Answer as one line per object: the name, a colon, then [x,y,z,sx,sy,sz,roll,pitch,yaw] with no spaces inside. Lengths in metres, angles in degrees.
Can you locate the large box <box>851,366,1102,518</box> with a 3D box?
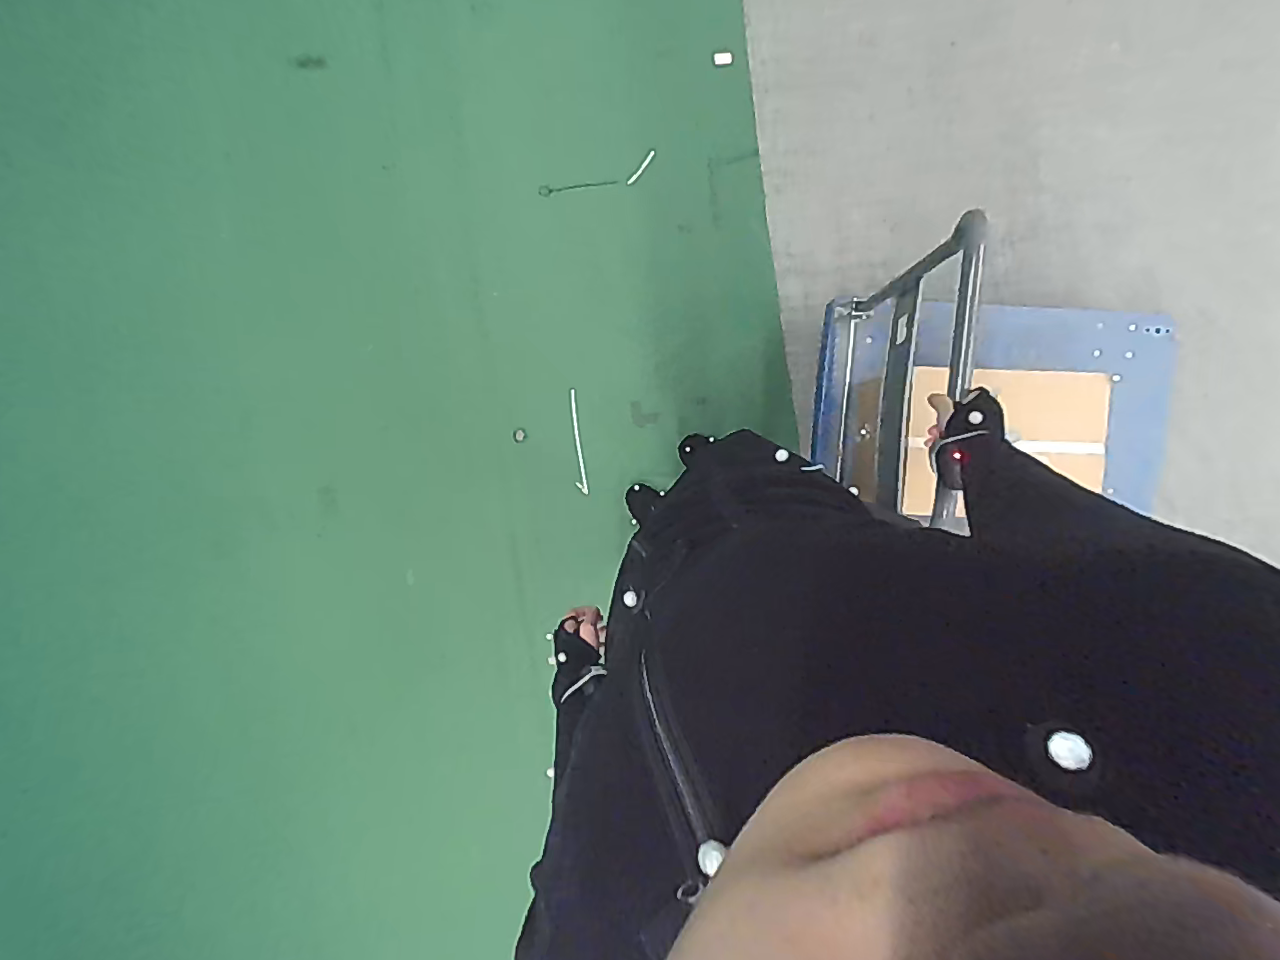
large box: [0.752,-0.086,1.273,0.408,0.320,0.320,2,95,1]
